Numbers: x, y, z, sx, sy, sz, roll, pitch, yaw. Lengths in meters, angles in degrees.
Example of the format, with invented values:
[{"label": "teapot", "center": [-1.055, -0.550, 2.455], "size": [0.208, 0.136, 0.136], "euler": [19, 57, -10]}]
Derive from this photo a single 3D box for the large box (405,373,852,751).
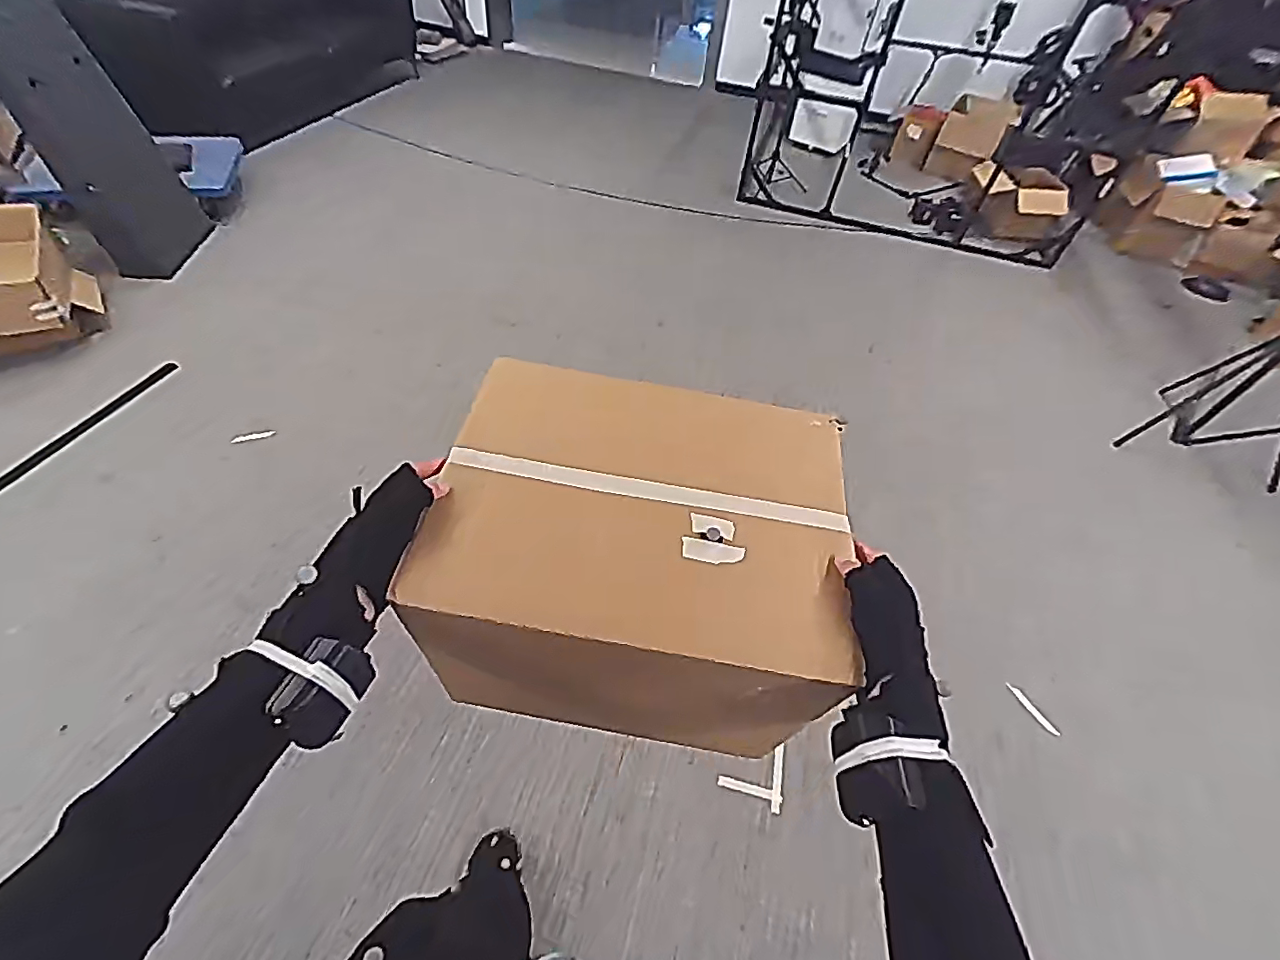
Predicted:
[{"label": "large box", "center": [-0.008, 0.112, 0.674], "size": [0.408, 0.320, 0.320], "euler": [11, 53, 0]}]
